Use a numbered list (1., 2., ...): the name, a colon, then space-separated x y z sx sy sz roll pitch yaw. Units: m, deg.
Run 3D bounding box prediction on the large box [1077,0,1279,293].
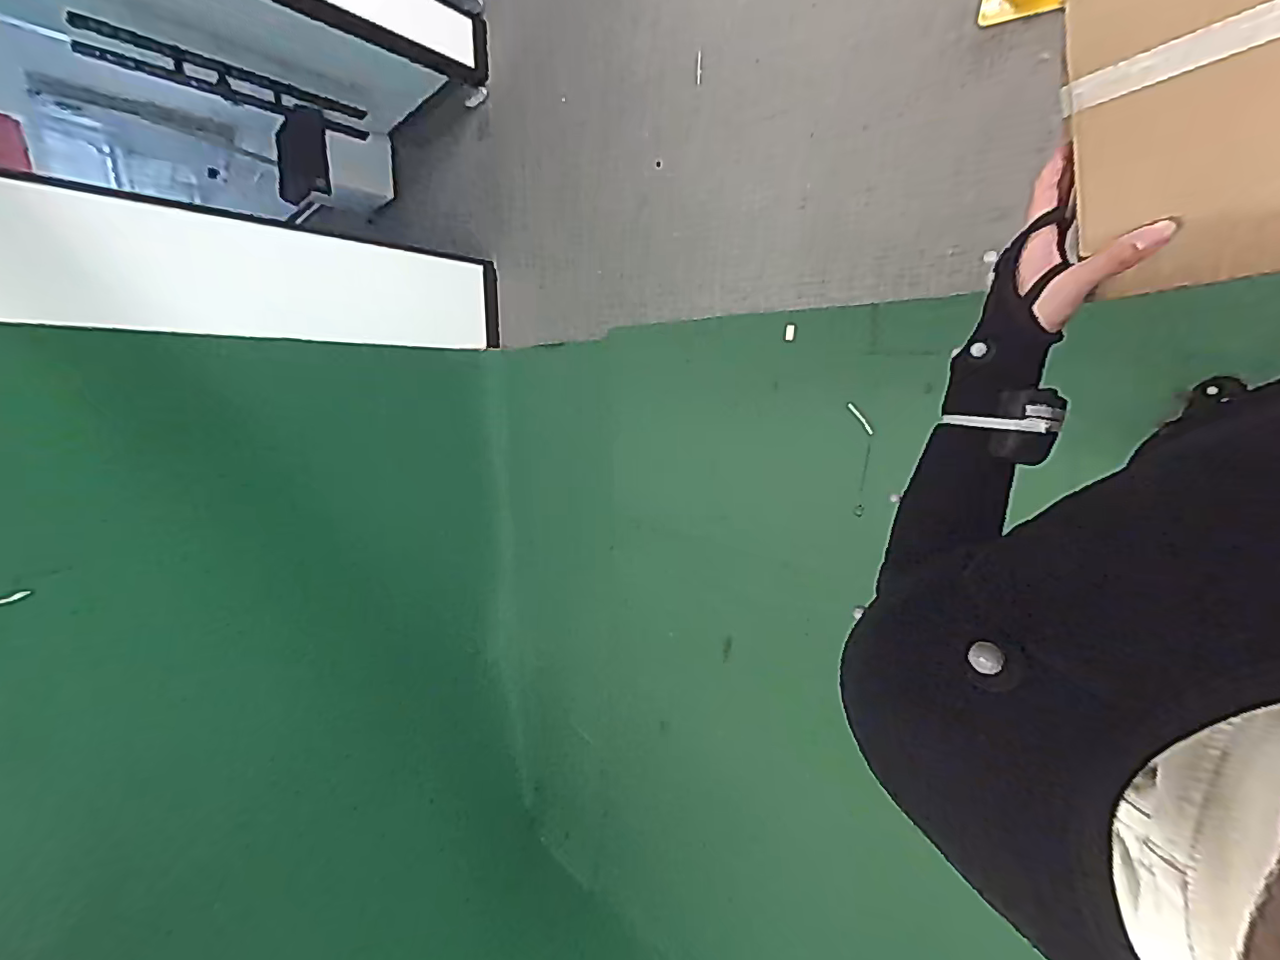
1. large box: 0.571 -0.352 0.362 0.408 0.320 0.320 1 115 46
